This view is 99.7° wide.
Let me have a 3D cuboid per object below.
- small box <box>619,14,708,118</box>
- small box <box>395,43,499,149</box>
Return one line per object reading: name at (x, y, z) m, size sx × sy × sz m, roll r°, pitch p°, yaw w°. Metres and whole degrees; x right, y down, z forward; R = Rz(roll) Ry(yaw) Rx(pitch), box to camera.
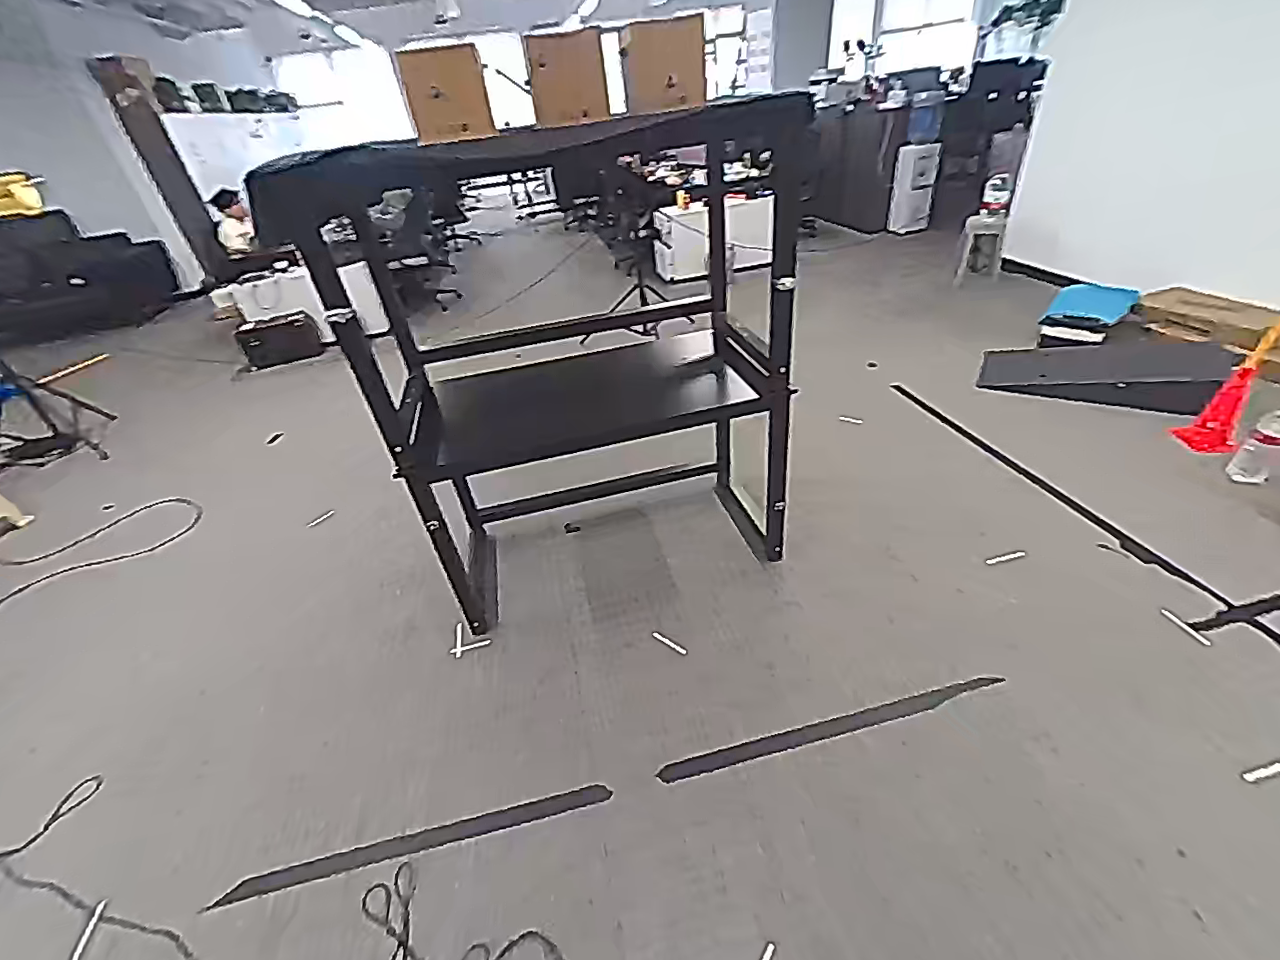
small box at (0.052, -0.941, 1.242) m, size 0.168 × 0.176 × 0.179 m, roll -13°, pitch 35°, yaw -5°
small box at (-0.418, -0.847, 1.204) m, size 0.168 × 0.176 × 0.179 m, roll -11°, pitch 34°, yaw -5°
